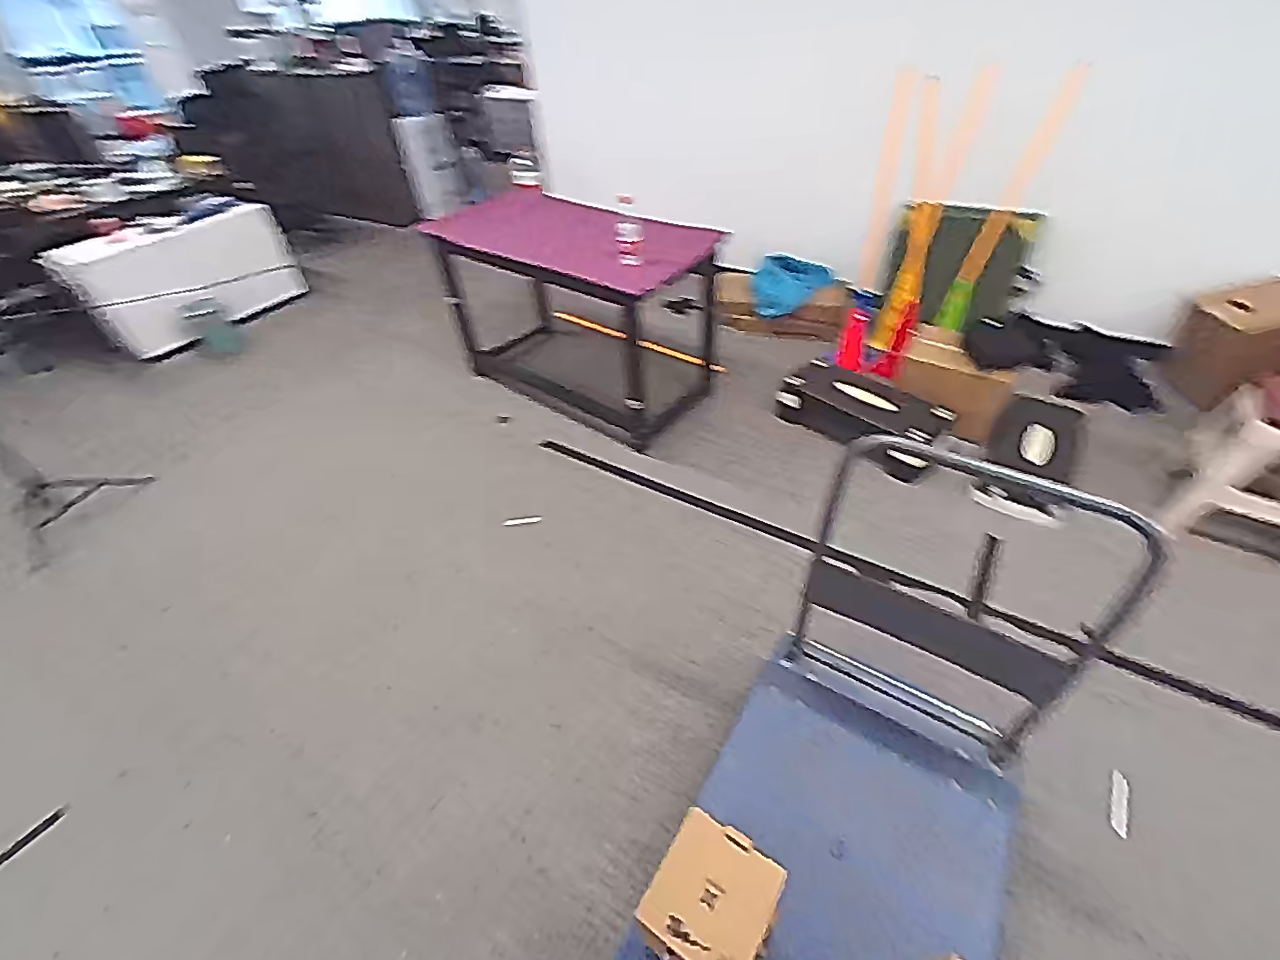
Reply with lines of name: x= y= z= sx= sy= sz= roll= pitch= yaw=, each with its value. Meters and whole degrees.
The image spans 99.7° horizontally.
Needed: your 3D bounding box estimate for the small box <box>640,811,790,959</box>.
small box: x=0.114 y=0.675 z=0.849 sx=0.168 sy=0.176 sz=0.179 roll=24 pitch=49 yaw=27
